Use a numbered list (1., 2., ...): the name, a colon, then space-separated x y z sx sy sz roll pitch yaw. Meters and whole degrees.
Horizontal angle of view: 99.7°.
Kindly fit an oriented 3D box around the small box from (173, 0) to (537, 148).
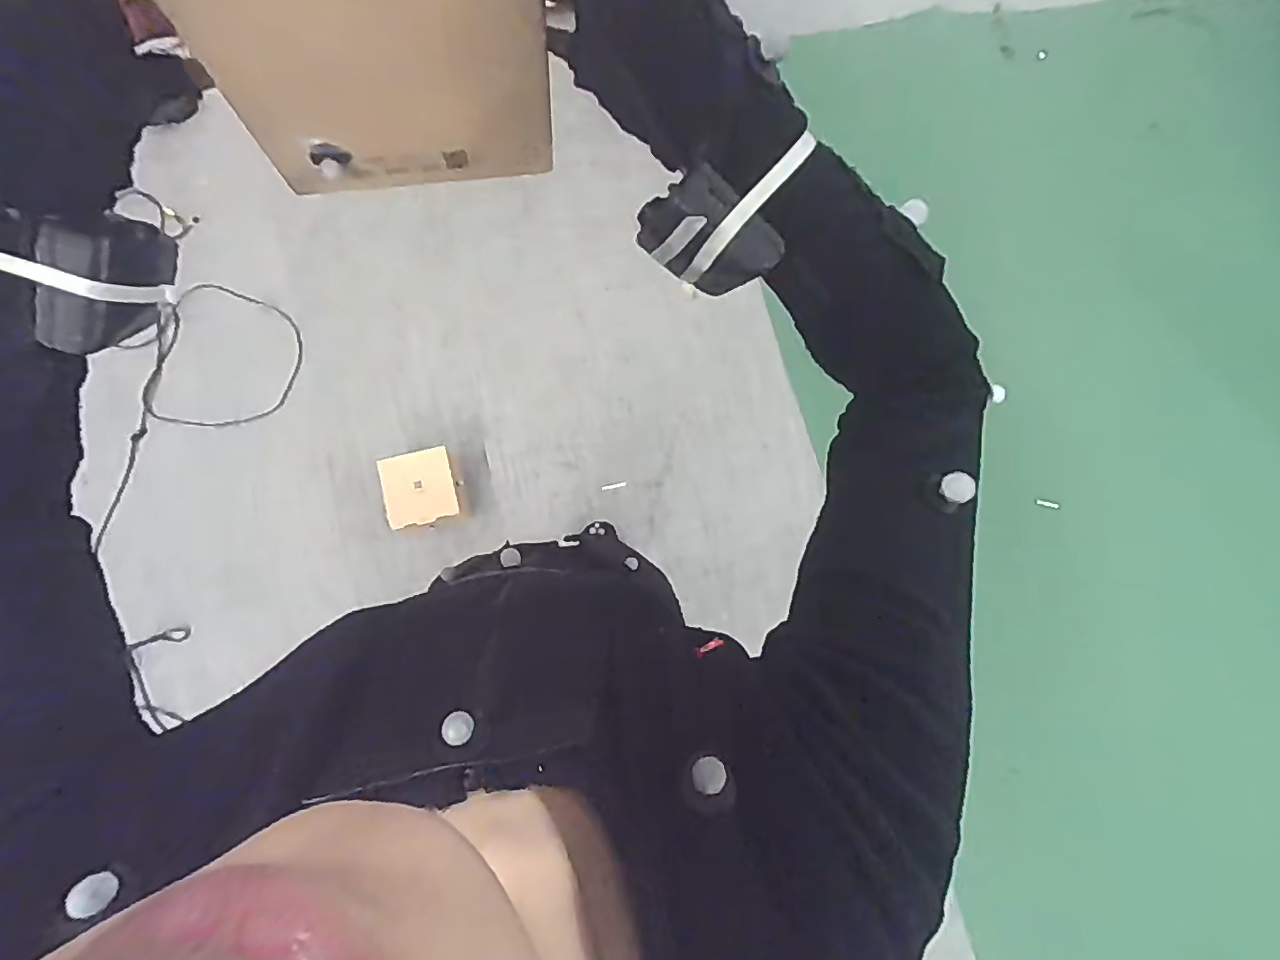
1. small box: -0.152 -0.306 0.285 0.168 0.176 0.179 -10 81 -9

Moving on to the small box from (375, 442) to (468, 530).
1. small box: -0.550 0.021 1.378 0.168 0.176 0.179 -14 83 -9
